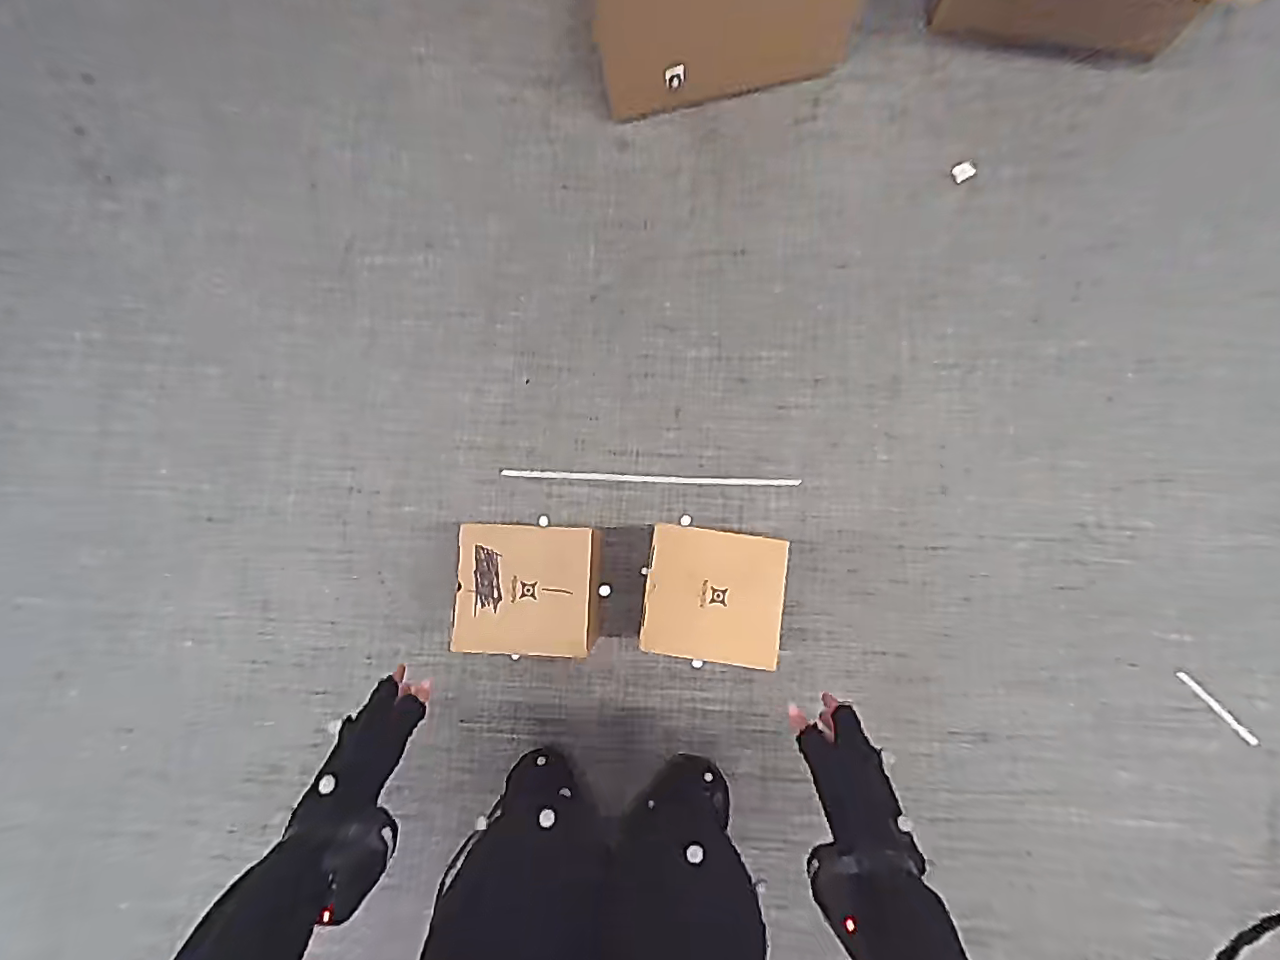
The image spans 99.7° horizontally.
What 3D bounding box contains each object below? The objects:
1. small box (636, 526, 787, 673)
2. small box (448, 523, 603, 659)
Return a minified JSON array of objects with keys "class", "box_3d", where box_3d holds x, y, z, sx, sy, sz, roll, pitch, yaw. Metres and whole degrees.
[{"class":"small box","box_3d":[0.095,0.159,0.763,0.179,0.176,0.168,7,83,4]},{"class":"small box","box_3d":[-0.151,0.152,0.770,0.179,0.176,0.168,2,82,1]}]
